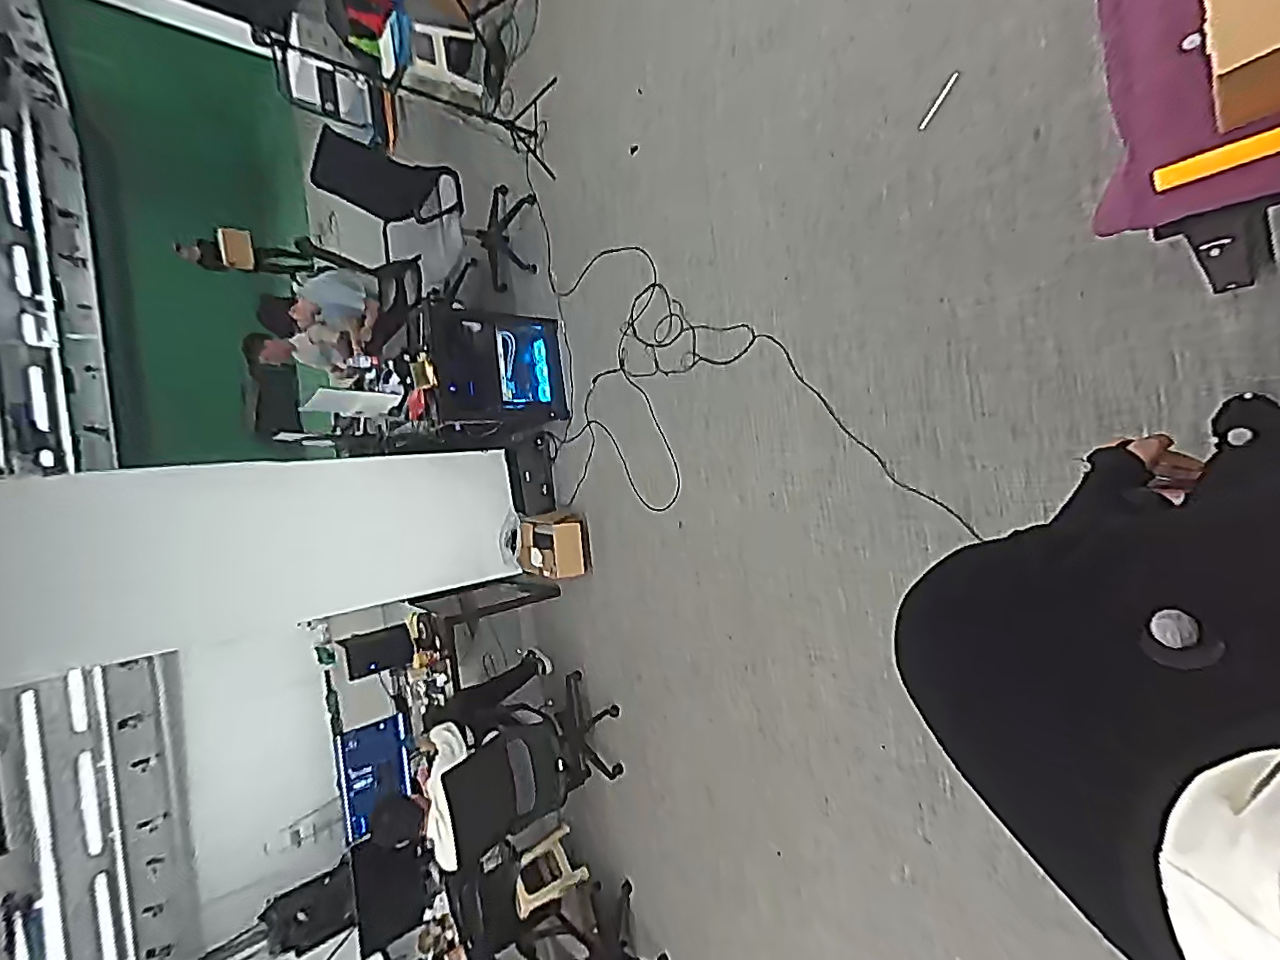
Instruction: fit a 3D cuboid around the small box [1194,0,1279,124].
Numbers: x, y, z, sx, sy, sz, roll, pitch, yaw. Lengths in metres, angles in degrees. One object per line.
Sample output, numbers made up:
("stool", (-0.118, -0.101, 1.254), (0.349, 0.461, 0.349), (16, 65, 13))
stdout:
("small box", (0.651, -0.484, 0.508), (0.179, 0.176, 0.168), (-7, 90, 48))
